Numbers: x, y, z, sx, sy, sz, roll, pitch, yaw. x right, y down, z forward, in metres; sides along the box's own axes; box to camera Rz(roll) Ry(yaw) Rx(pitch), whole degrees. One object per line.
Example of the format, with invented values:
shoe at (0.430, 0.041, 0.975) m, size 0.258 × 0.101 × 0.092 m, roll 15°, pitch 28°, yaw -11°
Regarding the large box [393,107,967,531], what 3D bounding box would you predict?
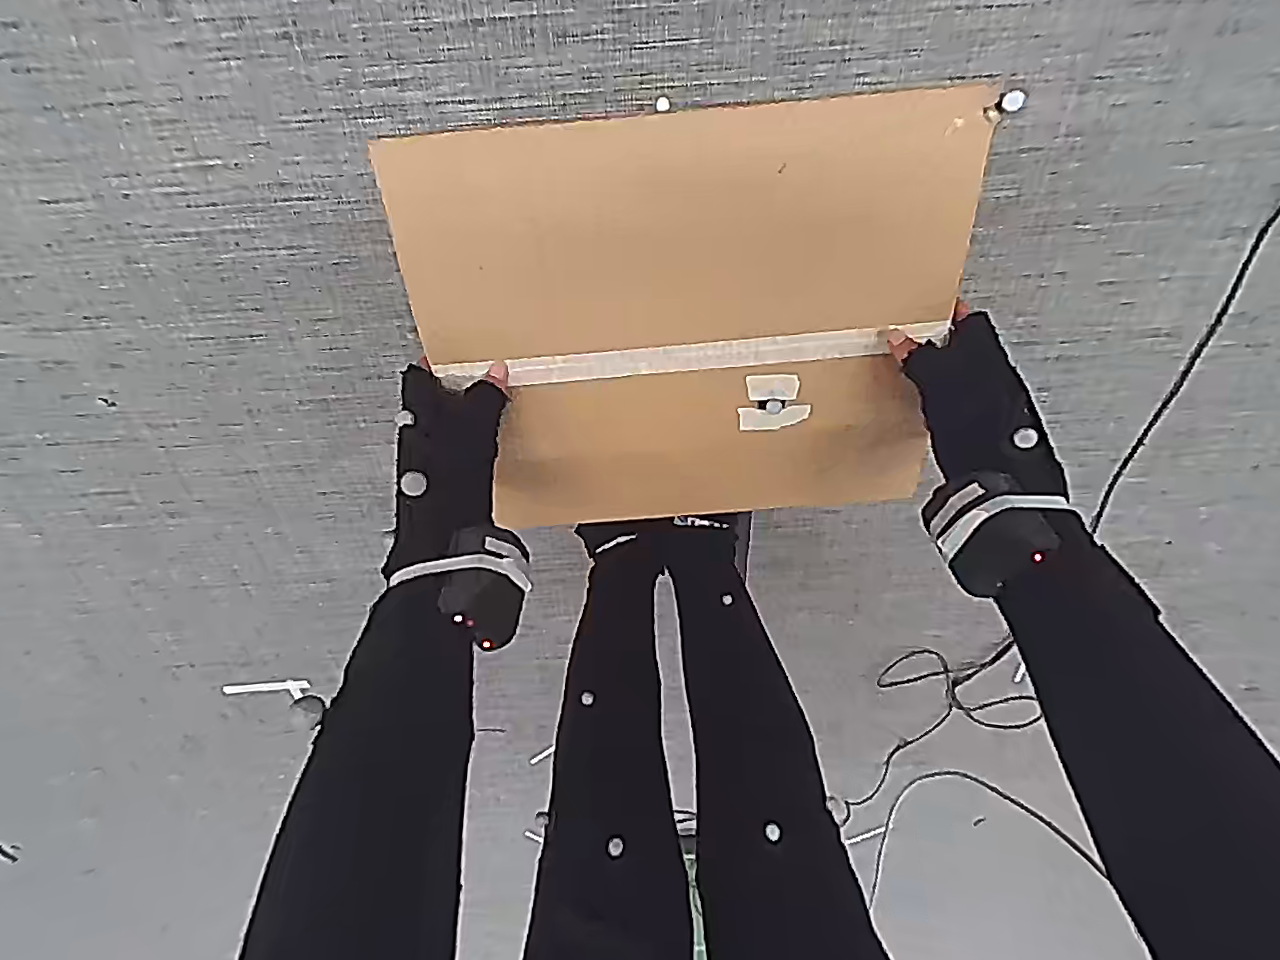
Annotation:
large box at (0.032, -0.175, 0.570) m, size 0.408 × 0.320 × 0.320 m, roll -5°, pitch 122°, yaw 1°
